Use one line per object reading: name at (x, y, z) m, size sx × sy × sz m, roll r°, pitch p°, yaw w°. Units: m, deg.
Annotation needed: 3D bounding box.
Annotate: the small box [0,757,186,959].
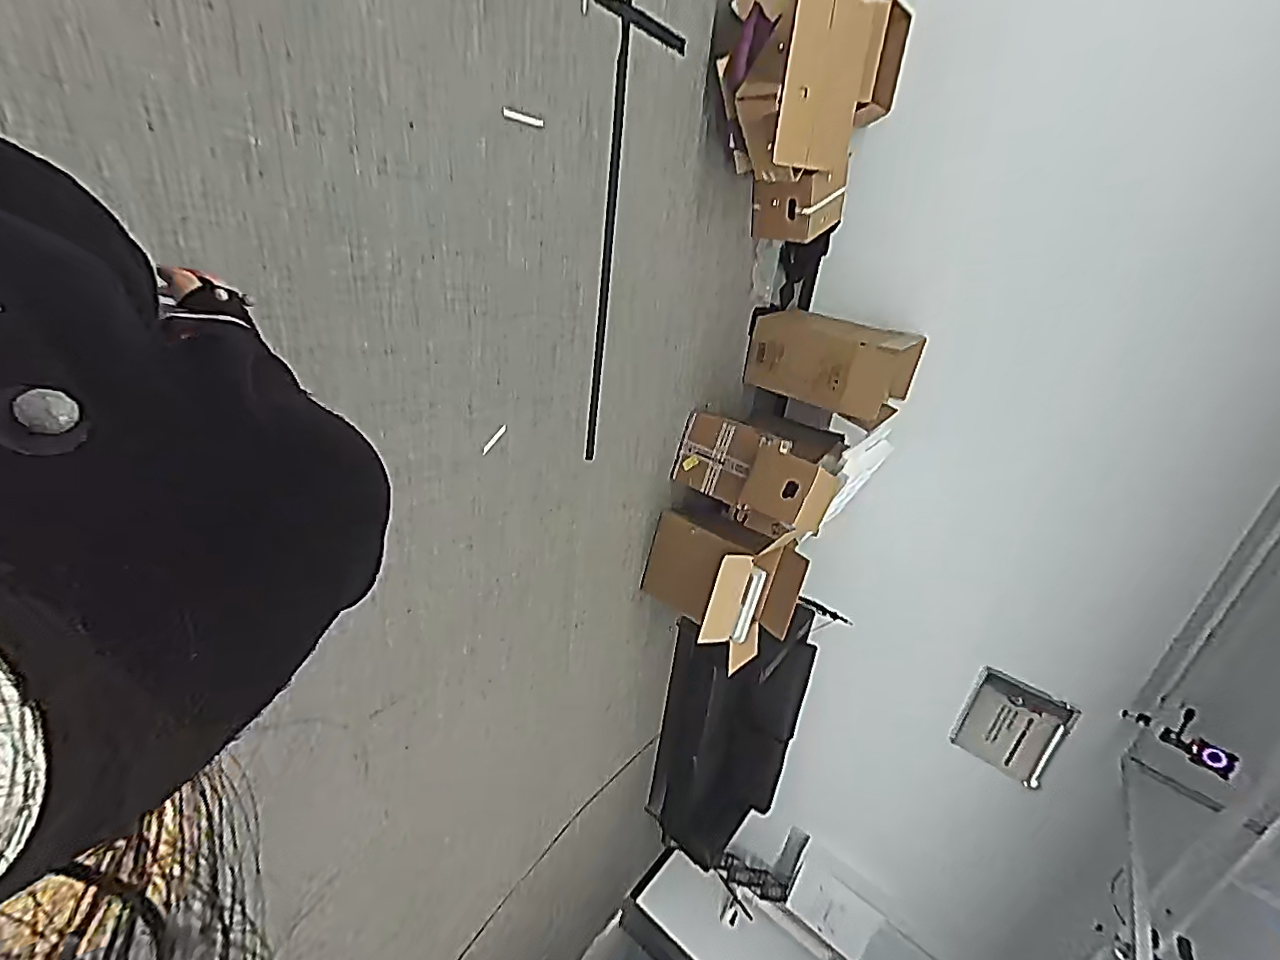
small box at (-0.785, 0.534, 0.771) m, size 0.168 × 0.176 × 0.179 m, roll -16°, pitch 123°, yaw -50°
